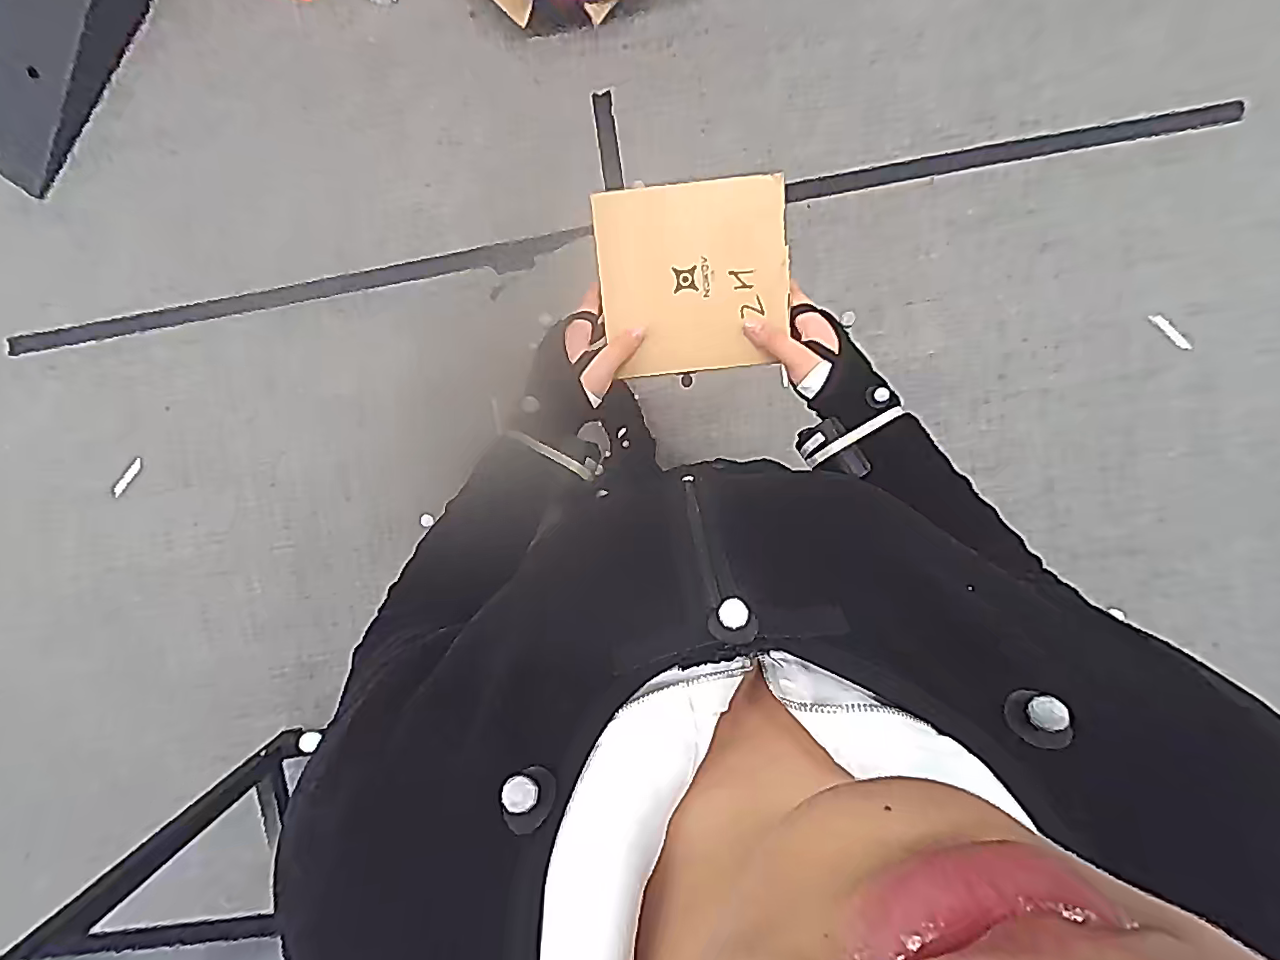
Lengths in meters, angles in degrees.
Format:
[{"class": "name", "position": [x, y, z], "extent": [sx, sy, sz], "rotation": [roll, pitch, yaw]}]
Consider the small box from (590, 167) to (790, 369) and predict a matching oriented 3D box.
[{"class": "small box", "position": [0.048, -0.207, 0.573], "extent": [0.179, 0.176, 0.168], "rotation": [-6, 103, 0]}]
